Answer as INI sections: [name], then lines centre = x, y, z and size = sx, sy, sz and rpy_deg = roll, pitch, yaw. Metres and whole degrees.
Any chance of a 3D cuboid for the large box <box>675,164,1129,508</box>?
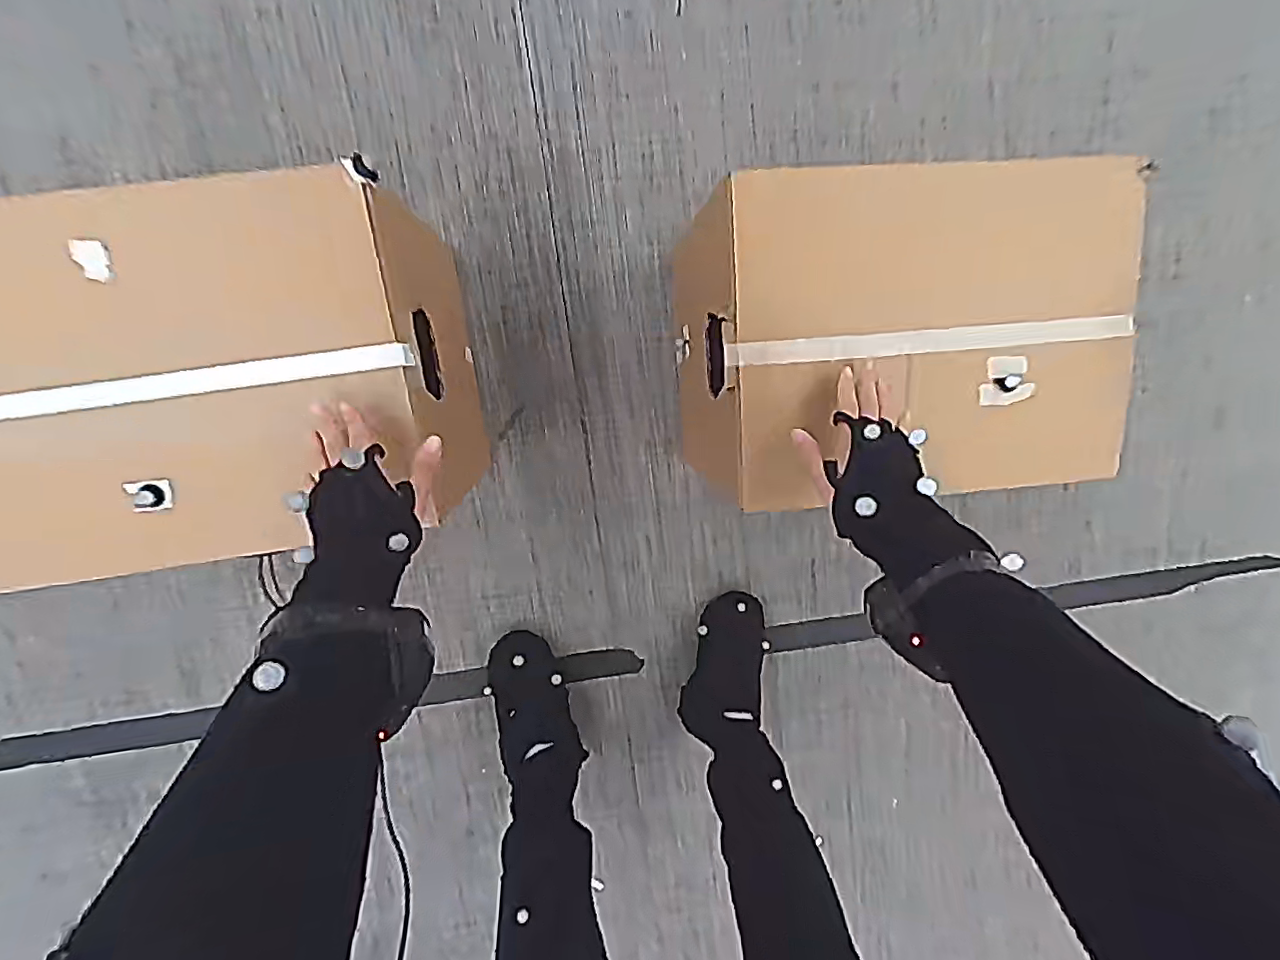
[large box]
centre = 0.274, -0.165, 0.679
size = 0.408, 0.320, 0.320
rpy_deg = -5, 101, -6
